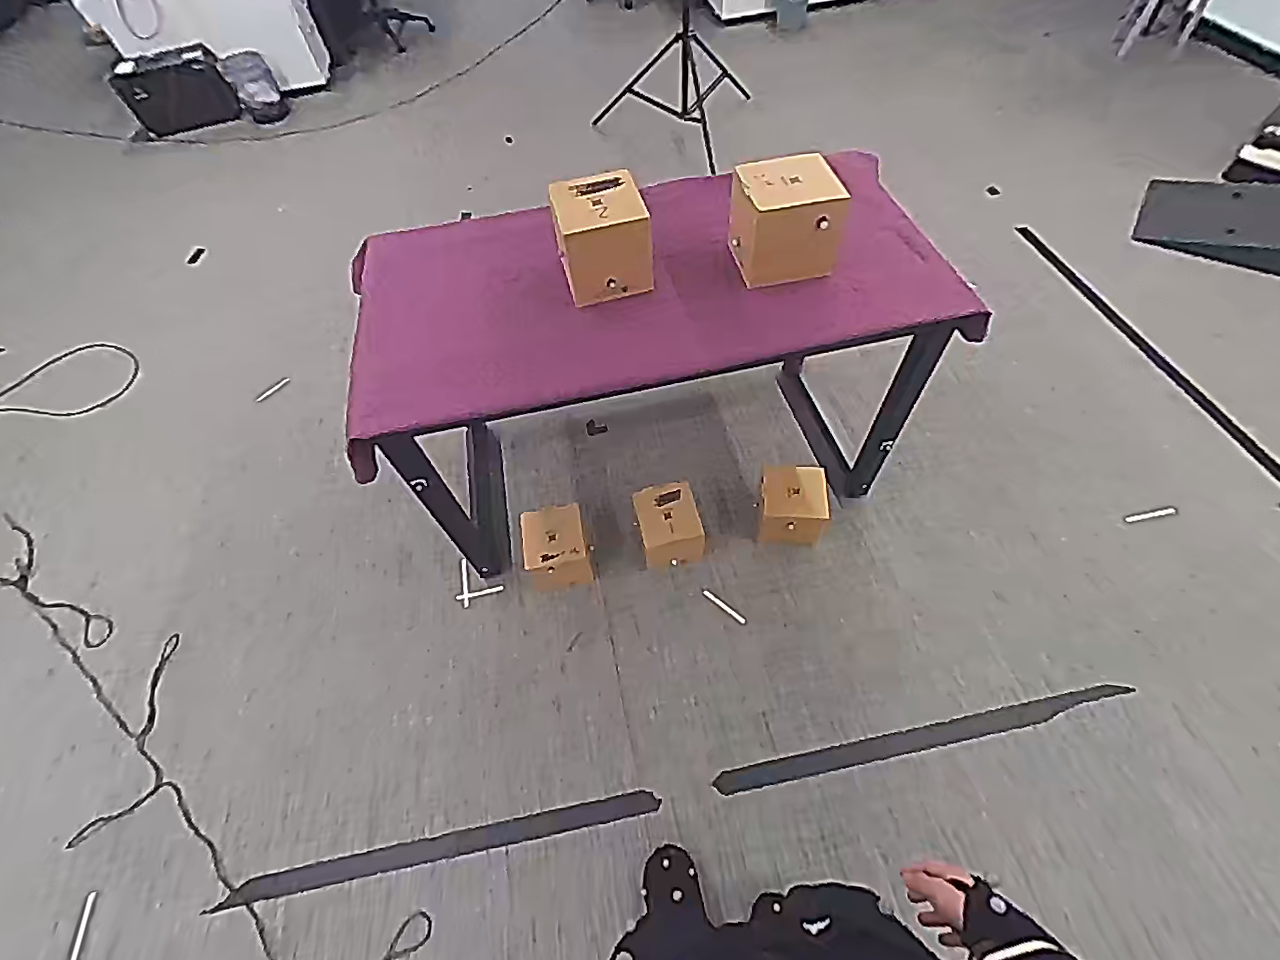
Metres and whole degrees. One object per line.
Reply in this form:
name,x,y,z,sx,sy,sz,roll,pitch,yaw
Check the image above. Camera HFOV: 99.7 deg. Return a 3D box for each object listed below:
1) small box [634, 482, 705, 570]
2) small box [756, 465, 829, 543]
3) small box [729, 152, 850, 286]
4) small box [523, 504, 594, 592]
small box,0.081,0.134,1.547,0.168,0.176,0.179,-13,58,-3
small box,0.433,0.073,1.560,0.179,0.176,0.168,2,58,7
small box,0.286,-0.516,1.079,0.179,0.176,0.168,-11,56,-2
small box,-0.230,0.195,1.533,0.168,0.176,0.179,-10,56,-2
